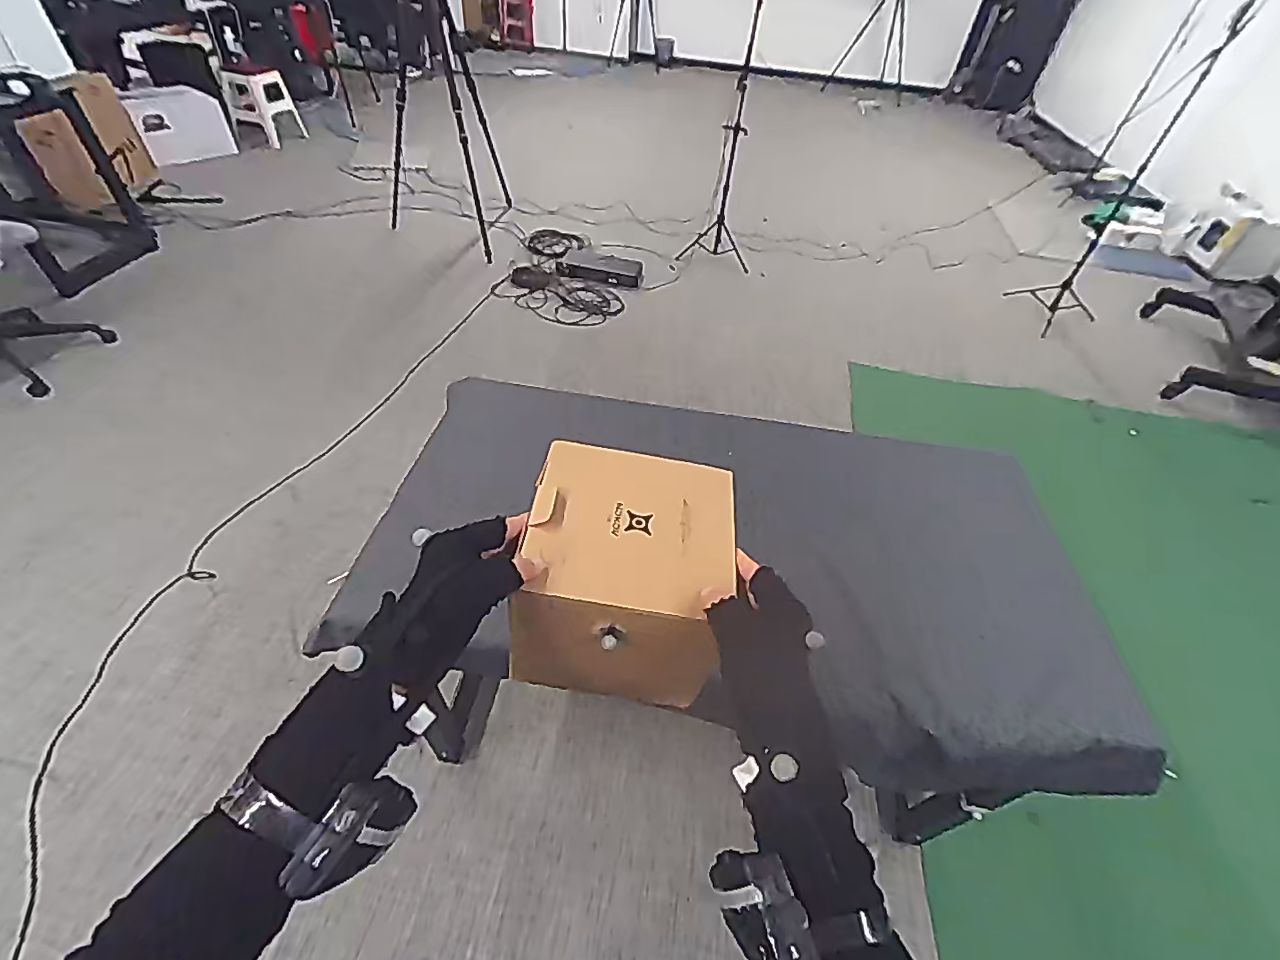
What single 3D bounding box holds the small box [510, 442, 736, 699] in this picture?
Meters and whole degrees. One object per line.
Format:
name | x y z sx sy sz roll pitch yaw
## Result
small box | -0.018 0.090 0.515 0.179 0.176 0.168 10 47 -4
